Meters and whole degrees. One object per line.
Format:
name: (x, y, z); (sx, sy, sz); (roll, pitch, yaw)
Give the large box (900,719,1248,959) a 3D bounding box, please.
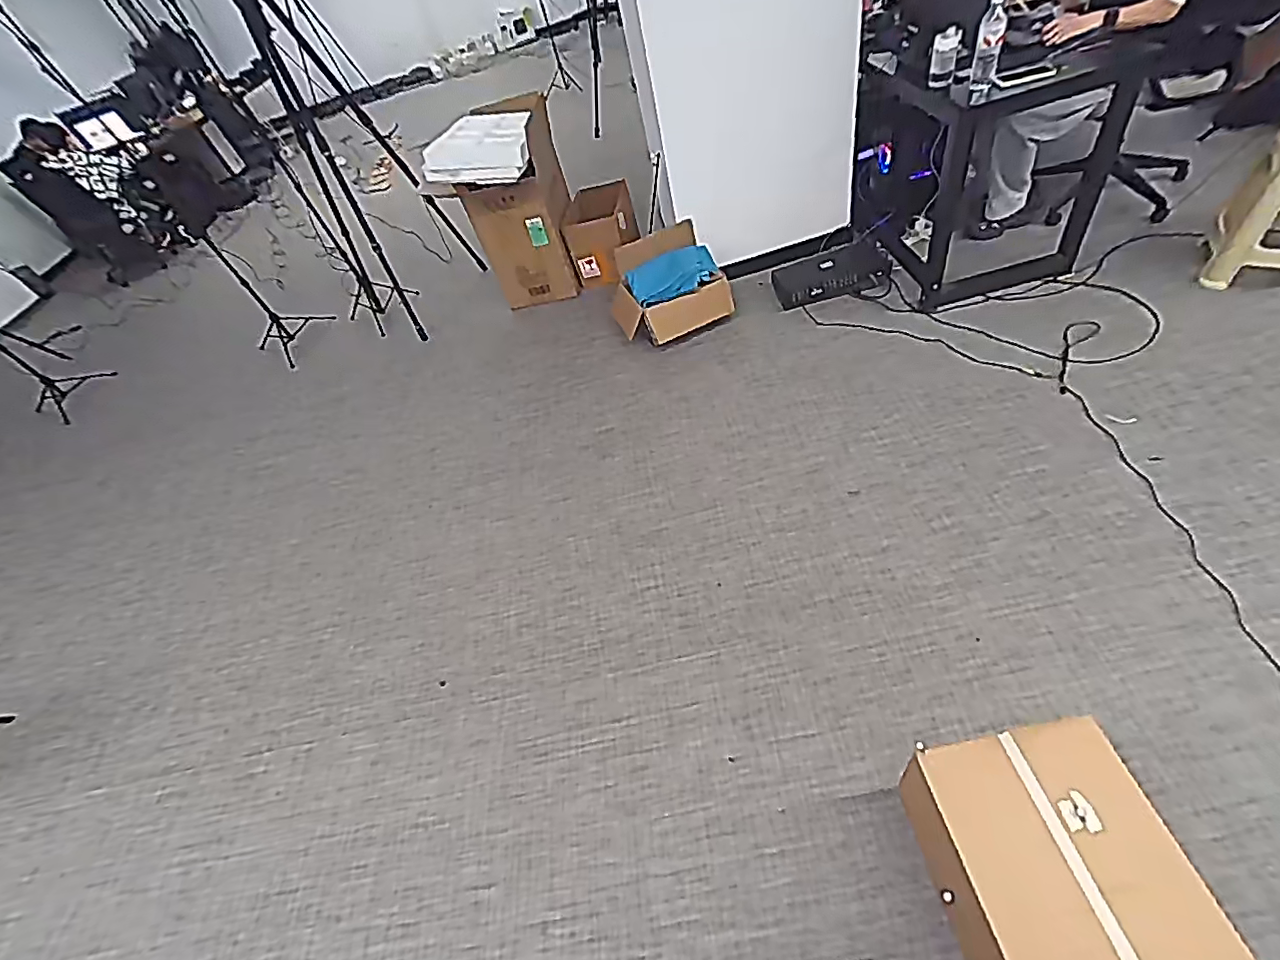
large box: (0.716, 0.709, 0.962); (0.320, 0.320, 0.408); (-14, 46, 5)
